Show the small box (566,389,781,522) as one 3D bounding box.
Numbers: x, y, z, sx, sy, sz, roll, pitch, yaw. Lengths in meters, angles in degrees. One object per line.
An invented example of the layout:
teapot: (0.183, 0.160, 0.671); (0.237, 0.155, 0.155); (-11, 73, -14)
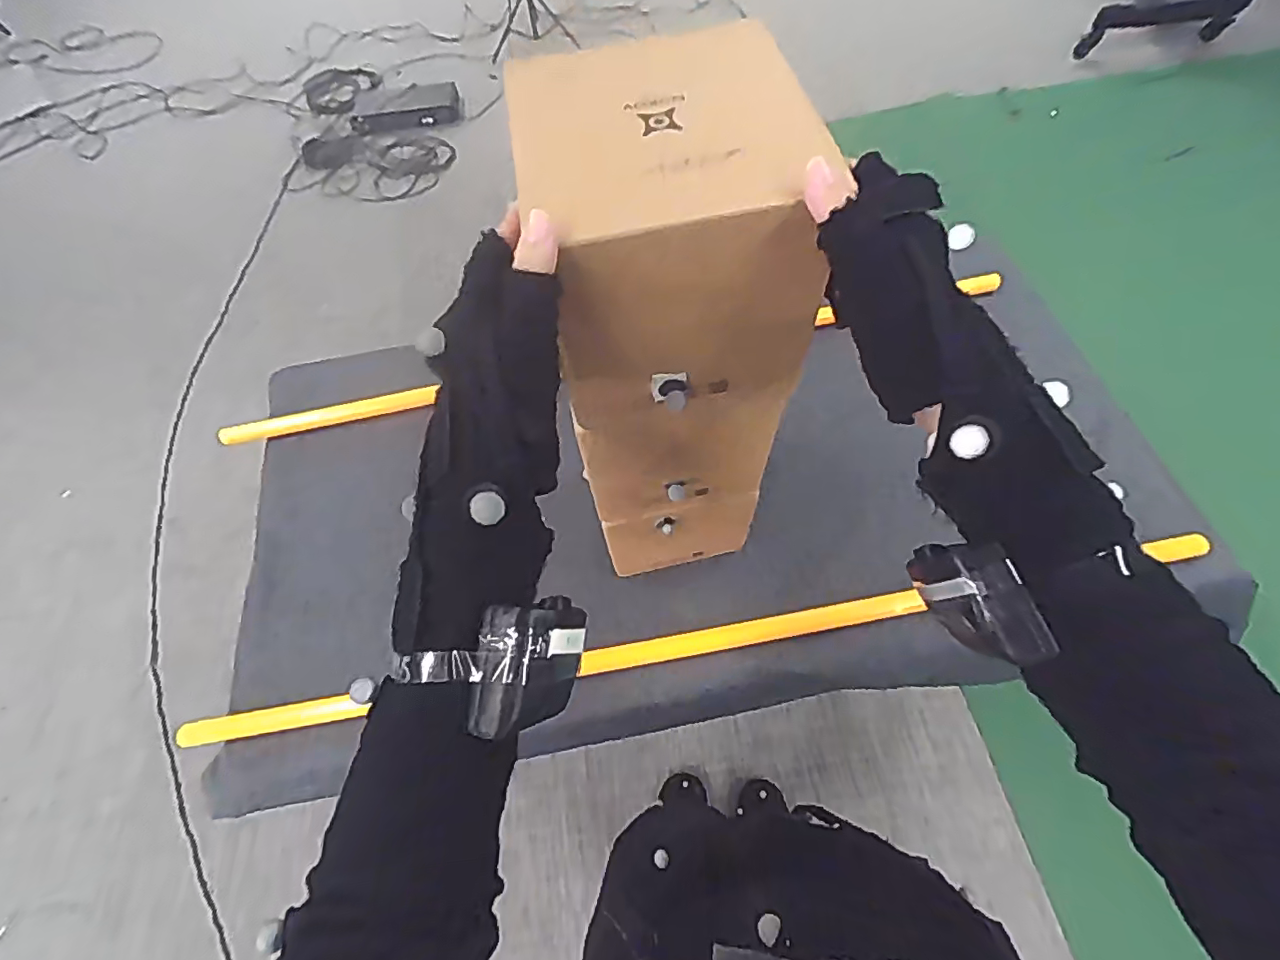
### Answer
small box: (0.018, -0.081, 0.520); (0.168, 0.176, 0.179); (-11, 62, -2)

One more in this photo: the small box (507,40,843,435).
small box: (0.013, -0.157, 0.376); (0.168, 0.176, 0.179); (-11, 63, -1)

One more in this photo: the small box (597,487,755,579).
small box: (0.028, 0.000, 0.662); (0.168, 0.176, 0.179); (-13, 61, -2)
